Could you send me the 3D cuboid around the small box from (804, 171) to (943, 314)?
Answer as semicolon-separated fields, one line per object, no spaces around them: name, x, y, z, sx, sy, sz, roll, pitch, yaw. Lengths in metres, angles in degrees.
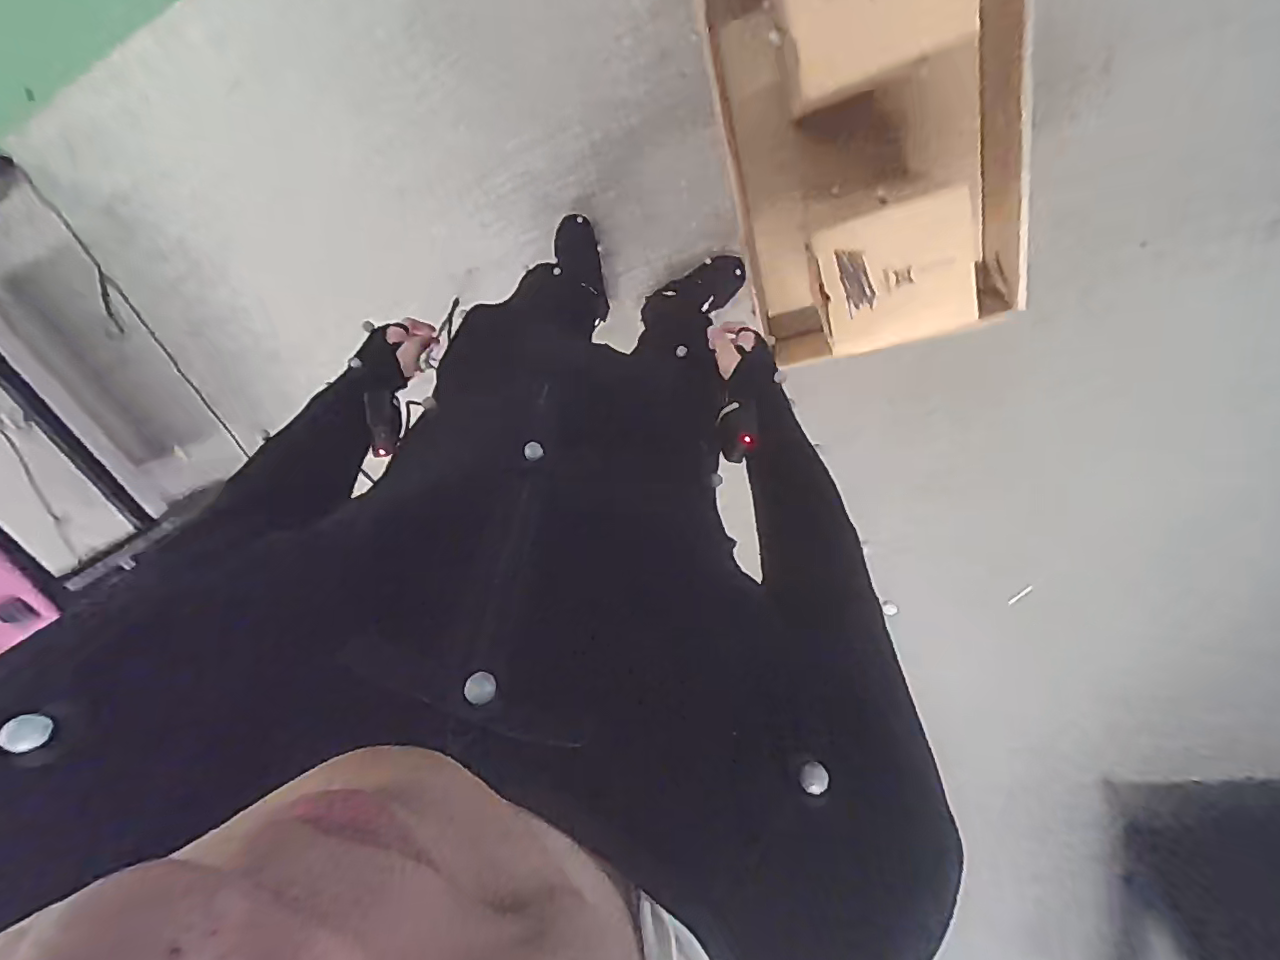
small box;0.367;-0.384;0.869;0.179;0.176;0.168;-7;119;17

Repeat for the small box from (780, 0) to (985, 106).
small box;0.255;-0.546;0.601;0.179;0.176;0.168;-11;117;18

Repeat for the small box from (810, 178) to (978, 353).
small box;0.333;-0.293;0.735;0.179;0.176;0.168;-12;117;18
